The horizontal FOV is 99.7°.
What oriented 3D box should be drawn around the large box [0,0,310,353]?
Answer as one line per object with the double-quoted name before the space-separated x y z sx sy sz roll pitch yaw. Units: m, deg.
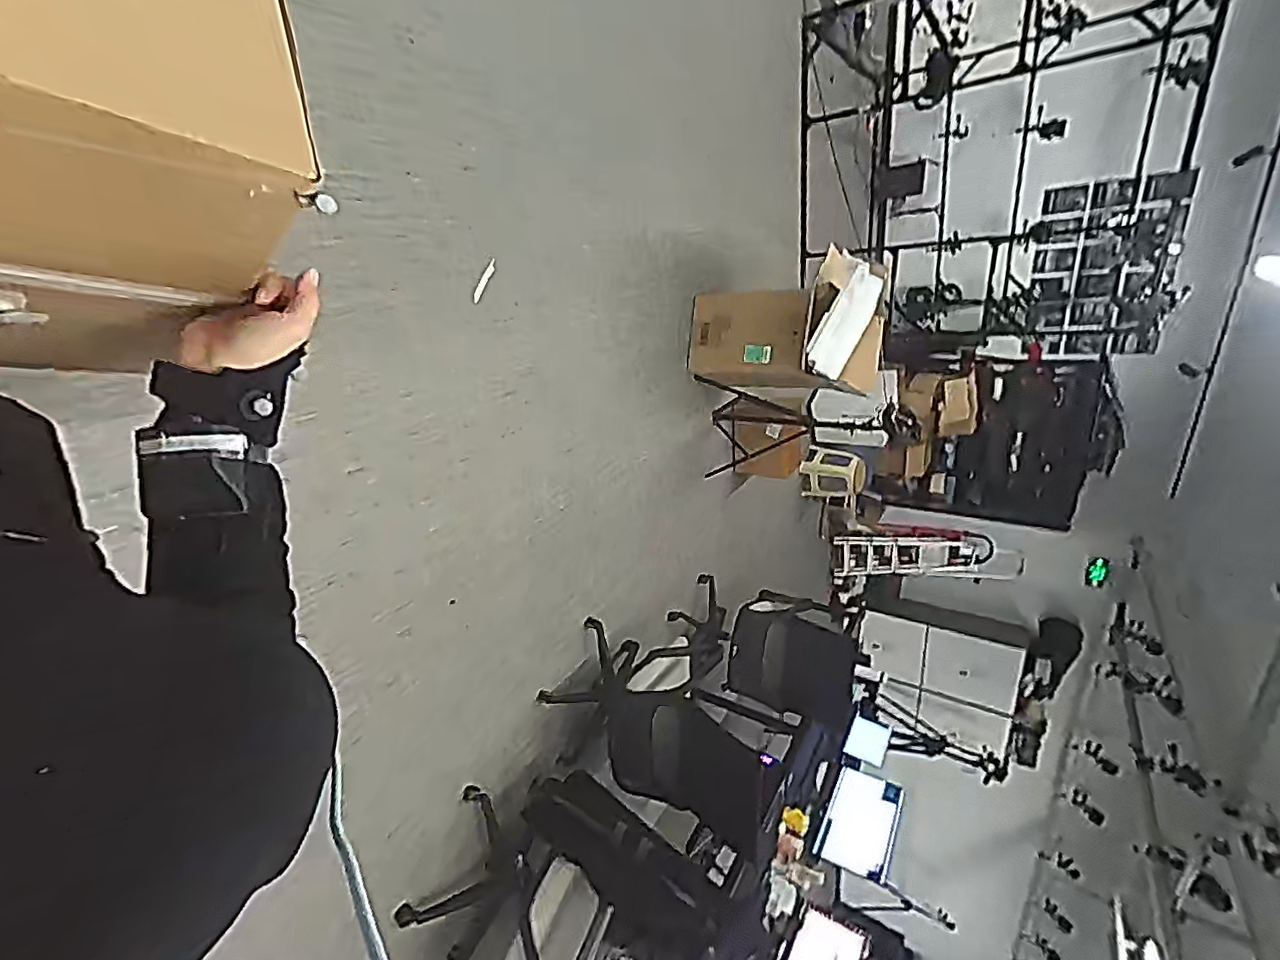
"large box" -0.468 -0.278 0.269 0.408 0.320 0.320 -11 85 -52
